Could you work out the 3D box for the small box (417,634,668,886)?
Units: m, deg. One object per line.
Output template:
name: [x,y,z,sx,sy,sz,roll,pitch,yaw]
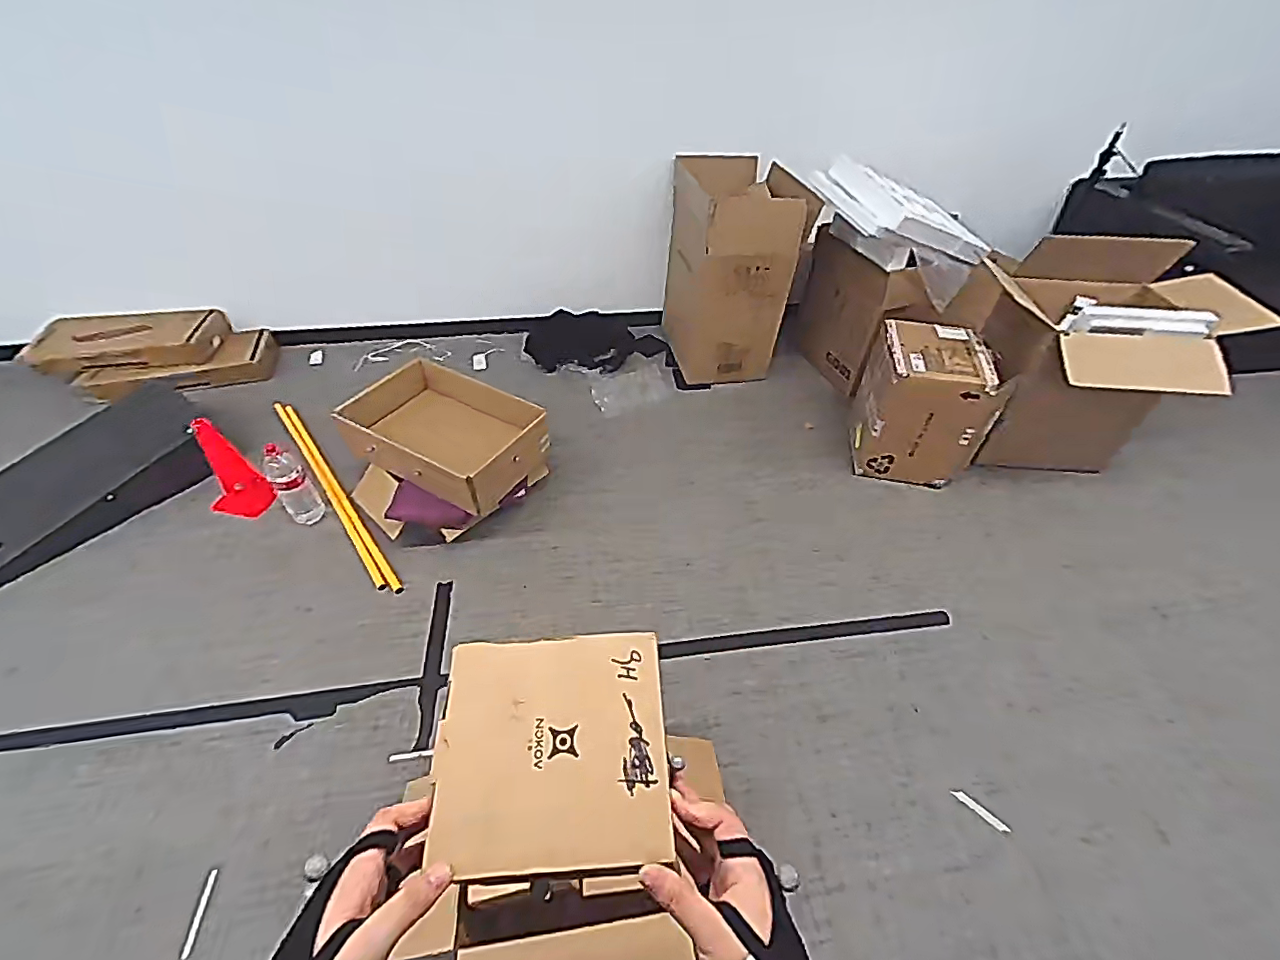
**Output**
small box: [-0.069,0.251,0.479,0.179,0.176,0.168,-3,52,-2]
